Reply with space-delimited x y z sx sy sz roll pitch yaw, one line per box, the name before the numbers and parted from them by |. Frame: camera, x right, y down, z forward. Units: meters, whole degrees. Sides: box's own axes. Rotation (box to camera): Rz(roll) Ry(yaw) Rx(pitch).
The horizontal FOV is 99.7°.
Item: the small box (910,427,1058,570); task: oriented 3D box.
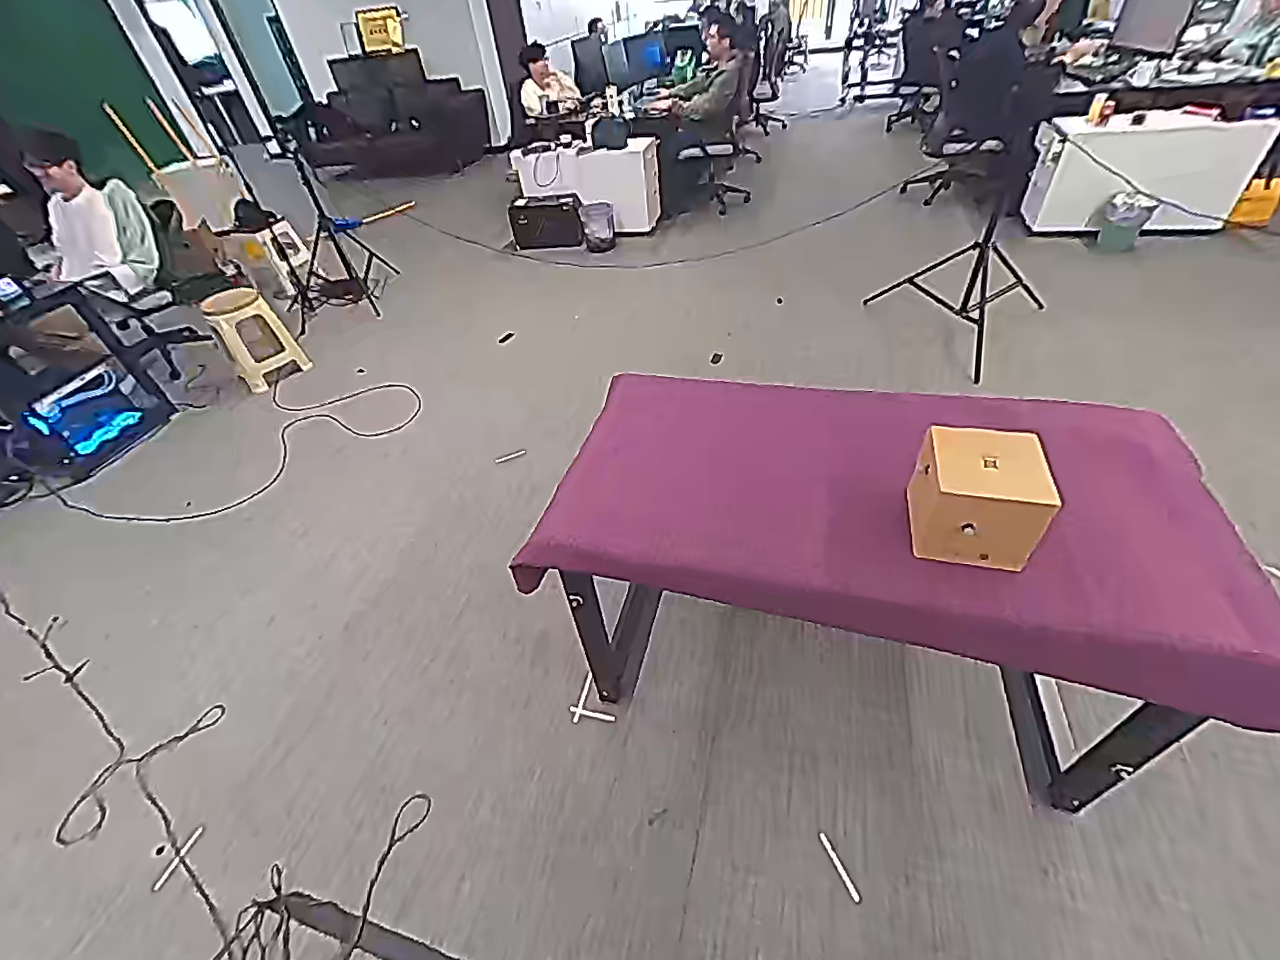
small box | 0.577 0.031 0.933 0.168 0.176 0.179 7 44 16
